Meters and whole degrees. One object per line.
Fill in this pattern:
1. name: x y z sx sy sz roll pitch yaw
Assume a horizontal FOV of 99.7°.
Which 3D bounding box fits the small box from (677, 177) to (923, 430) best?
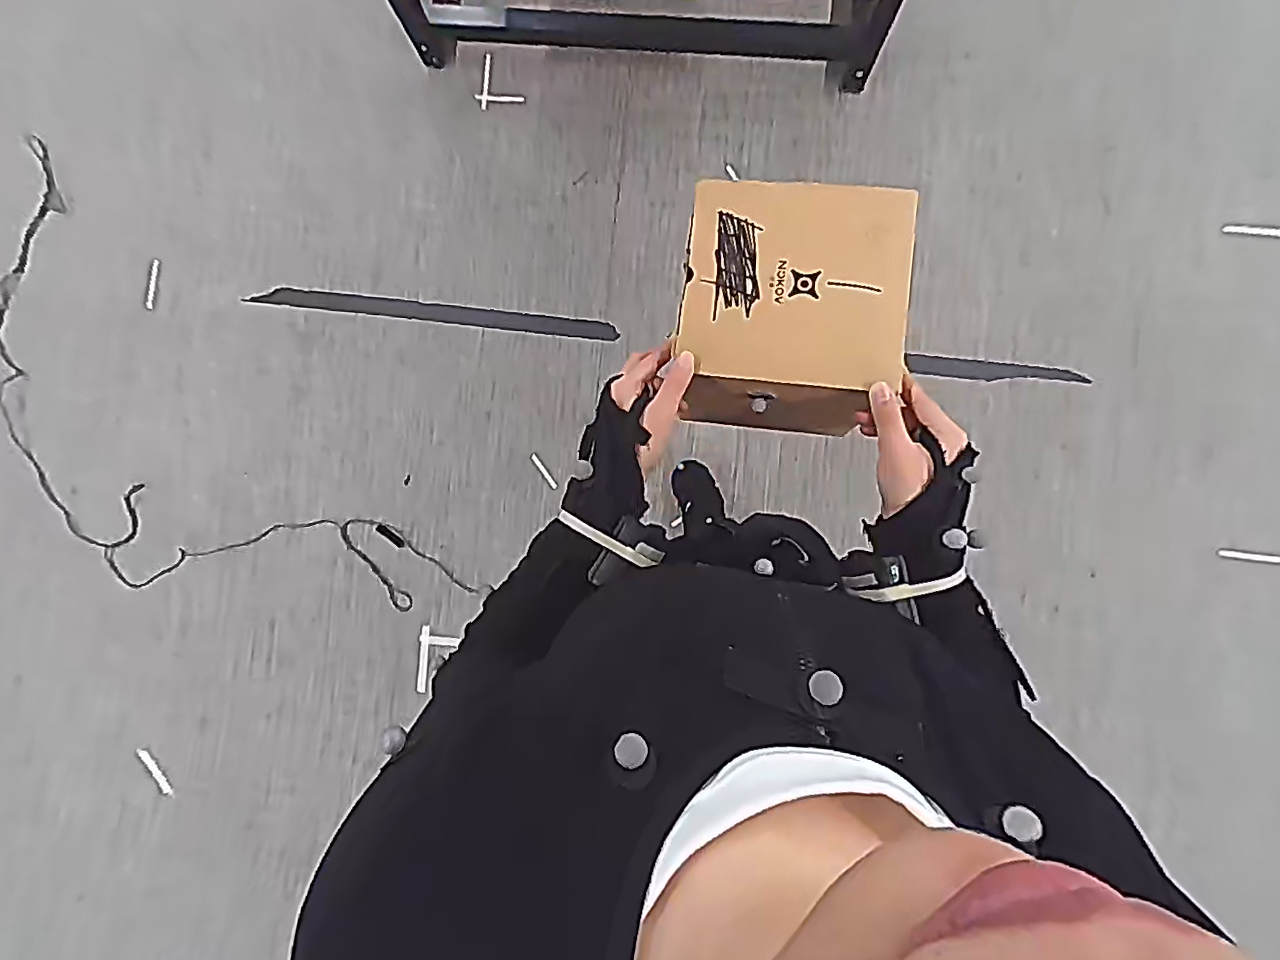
1. small box: 0.134 -0.148 0.502 0.179 0.176 0.168 7 84 7
